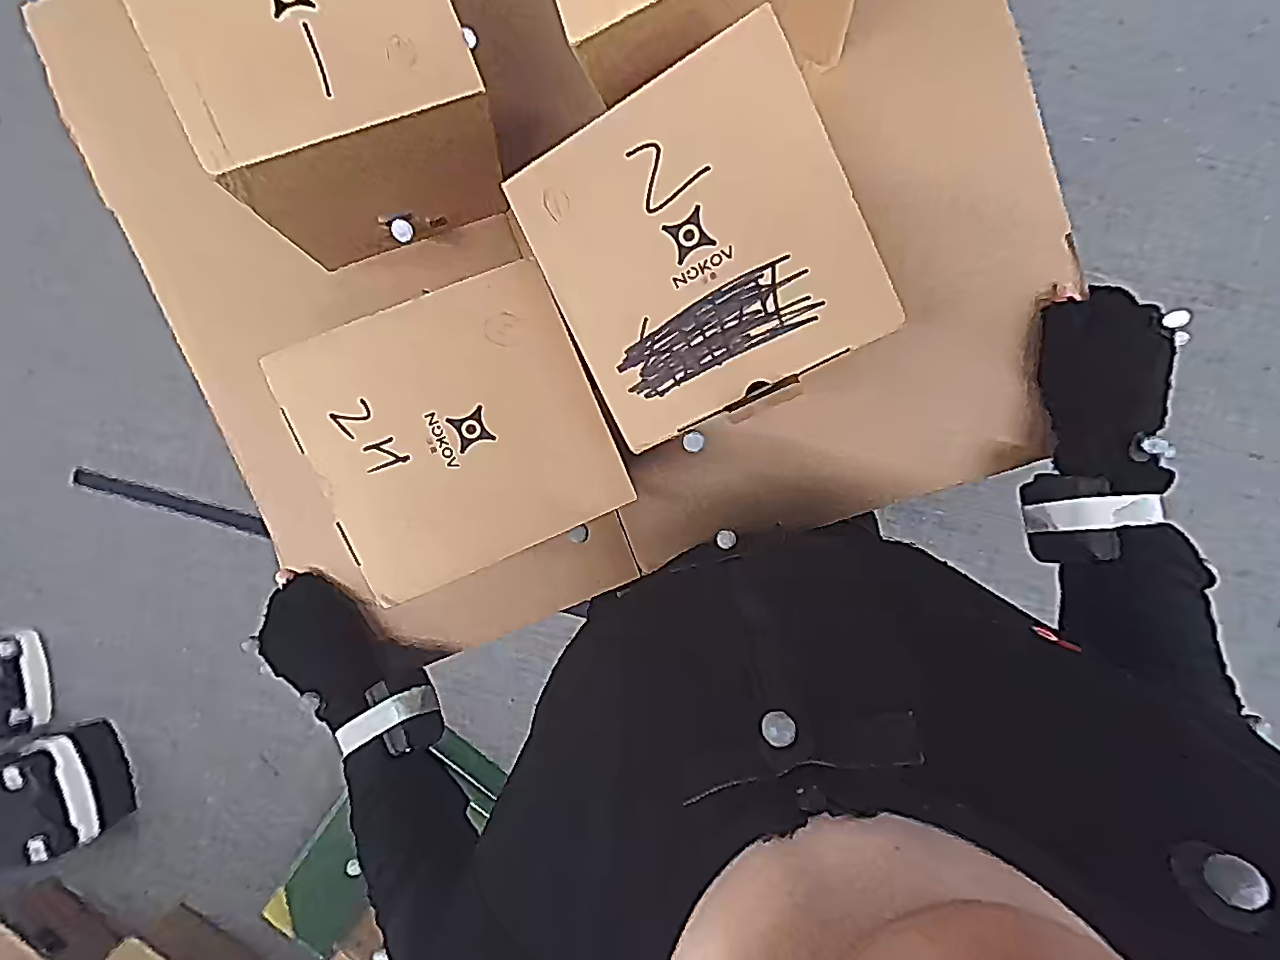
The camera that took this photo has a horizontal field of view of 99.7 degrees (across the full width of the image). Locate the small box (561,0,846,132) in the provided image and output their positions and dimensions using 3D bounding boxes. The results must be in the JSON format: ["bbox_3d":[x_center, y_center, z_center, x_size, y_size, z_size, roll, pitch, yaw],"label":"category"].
[{"bbox_3d":[0.031,-0.356,0.337,0.168,0.176,0.179,-16,96,15],"label":"small box"}]
